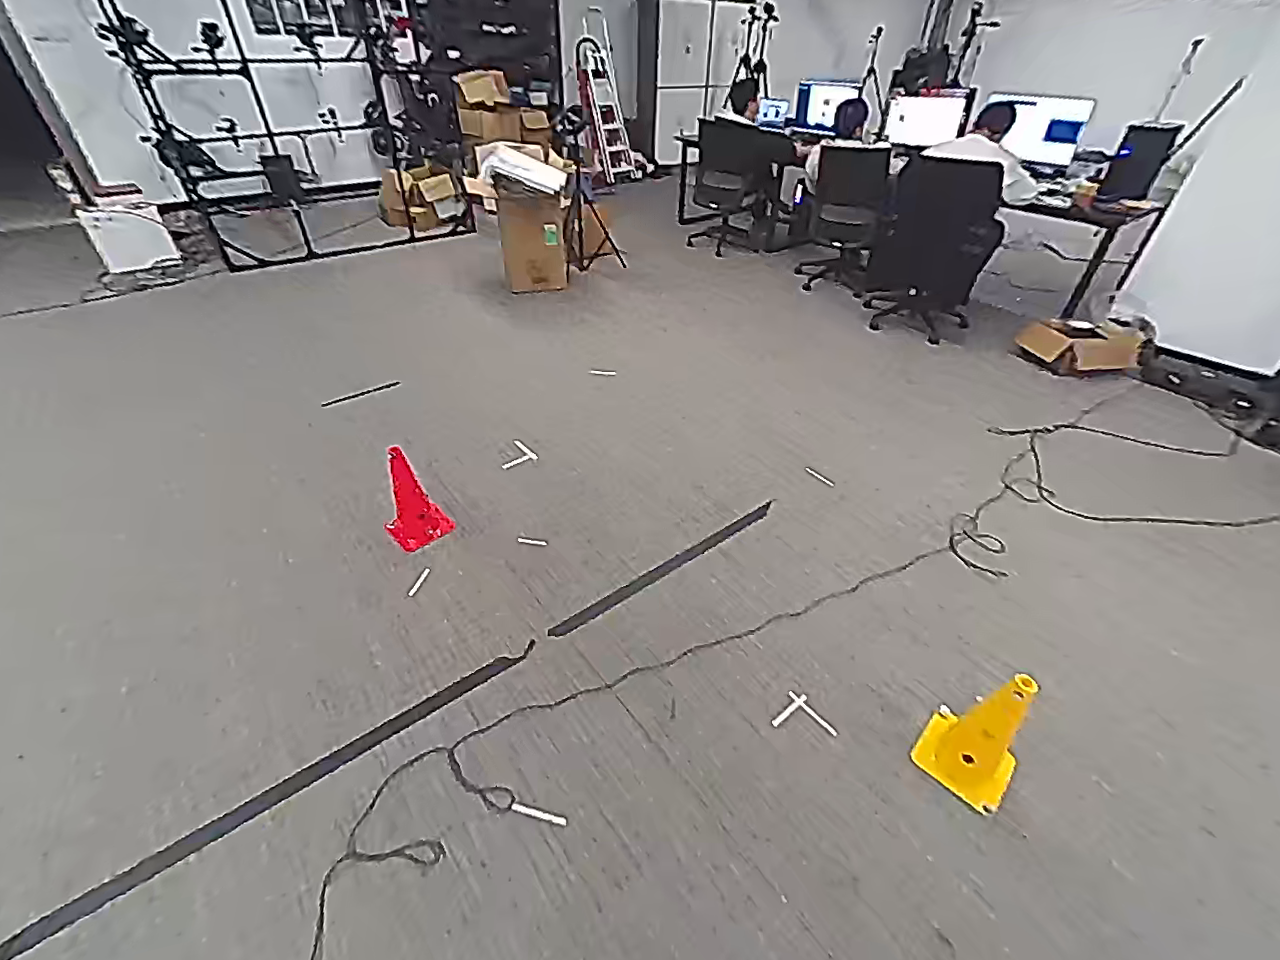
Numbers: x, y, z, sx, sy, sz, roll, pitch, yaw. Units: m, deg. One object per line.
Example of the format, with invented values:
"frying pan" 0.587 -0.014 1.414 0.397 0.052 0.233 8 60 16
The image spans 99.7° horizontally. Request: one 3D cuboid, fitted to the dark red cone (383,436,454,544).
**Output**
"dark red cone" -0.809 0.019 1.886 0.201 0.394 0.202 33 48 32
